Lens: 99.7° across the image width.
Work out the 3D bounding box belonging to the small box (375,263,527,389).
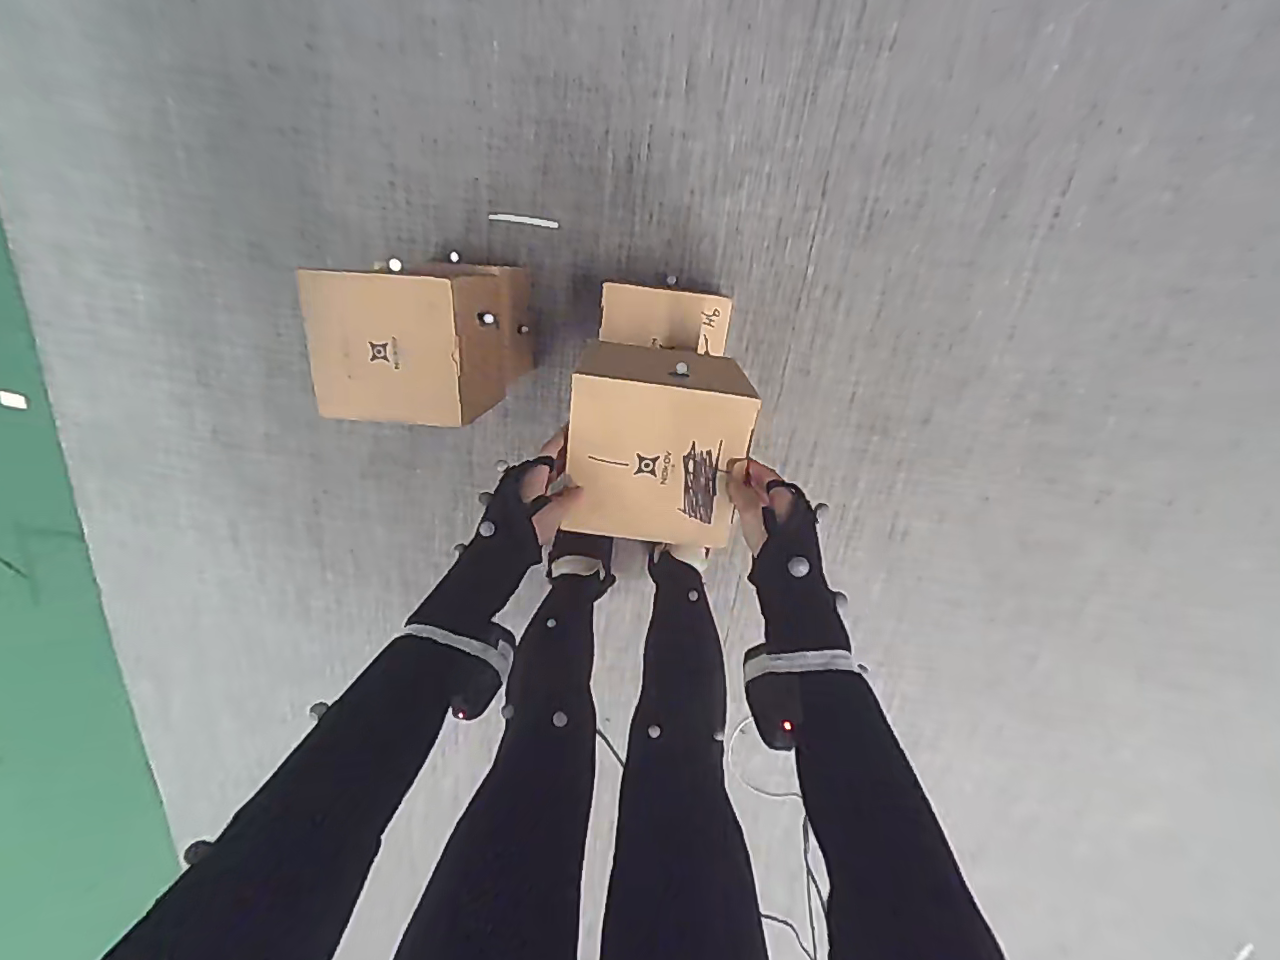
[{"bbox_3d":[-0.278,-0.245,0.842,0.179,0.176,0.168,5,111,3],"label":"small box"}]

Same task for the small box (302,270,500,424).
[{"bbox_3d":[-0.286,-0.177,0.694,0.179,0.176,0.168,4,111,3],"label":"small box"}]

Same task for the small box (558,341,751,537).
[{"bbox_3d":[0.010,-0.055,0.615,0.179,0.176,0.168,7,114,-2],"label":"small box"}]
